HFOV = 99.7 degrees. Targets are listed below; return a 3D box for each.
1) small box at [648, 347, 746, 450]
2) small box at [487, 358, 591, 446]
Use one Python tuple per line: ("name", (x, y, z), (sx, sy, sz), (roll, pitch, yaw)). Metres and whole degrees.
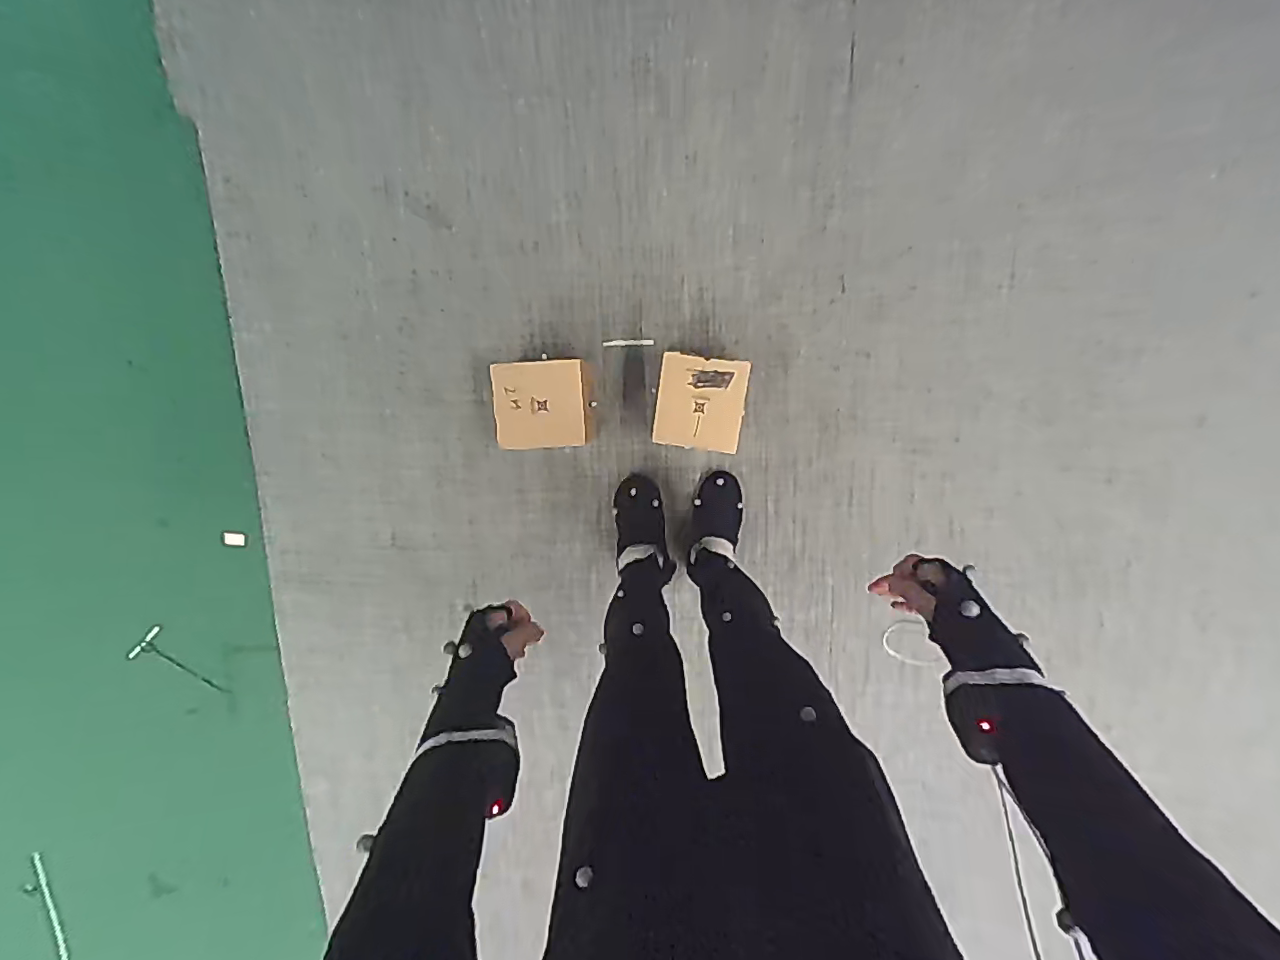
("small box", (0.108, -0.168, 1.099), (0.168, 0.176, 0.179), (7, 102, 1))
("small box", (-0.196, -0.164, 1.109), (0.179, 0.176, 0.168), (-2, 101, 4))
